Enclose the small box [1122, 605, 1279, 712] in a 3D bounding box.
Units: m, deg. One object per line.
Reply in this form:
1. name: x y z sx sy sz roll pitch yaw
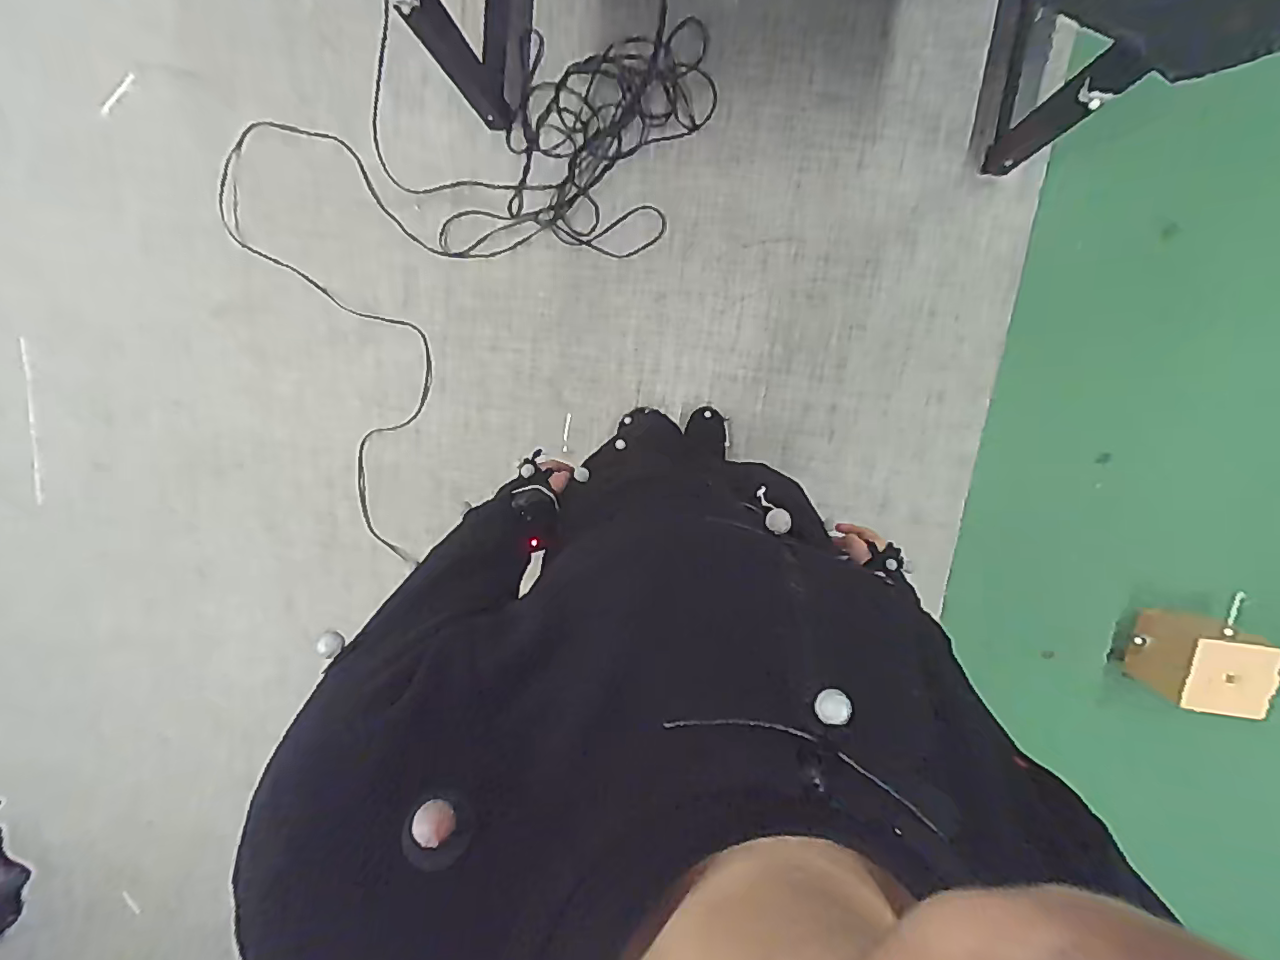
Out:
1. small box: 1.274 0.399 1.235 0.179 0.176 0.168 7 99 5
